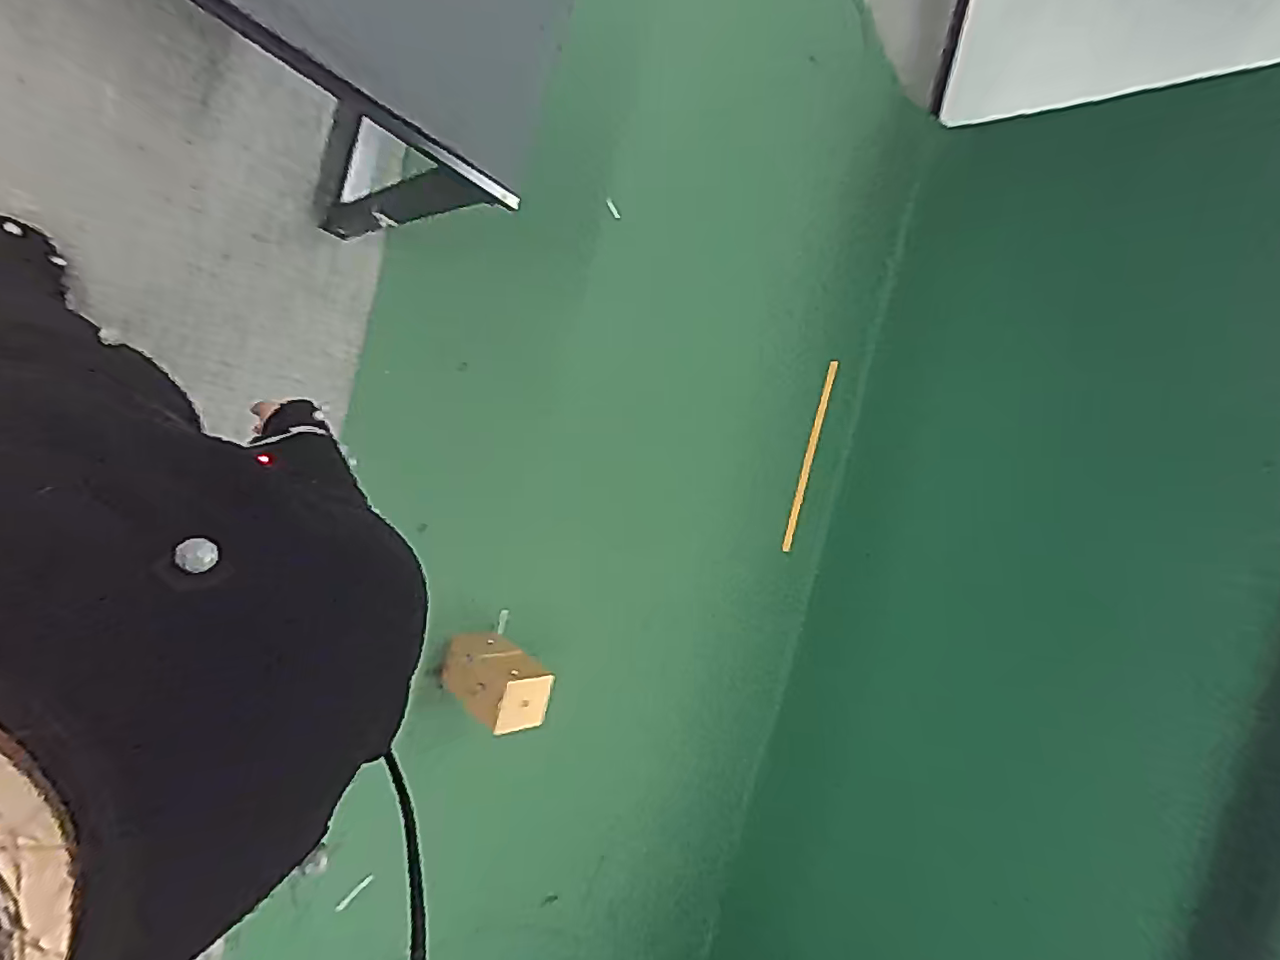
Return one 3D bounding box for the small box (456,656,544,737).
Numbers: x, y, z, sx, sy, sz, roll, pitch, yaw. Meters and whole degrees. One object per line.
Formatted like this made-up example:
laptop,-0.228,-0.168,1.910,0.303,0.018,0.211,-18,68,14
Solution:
small box,-0.430,0.654,1.658,0.179,0.176,0.168,14,92,-49
